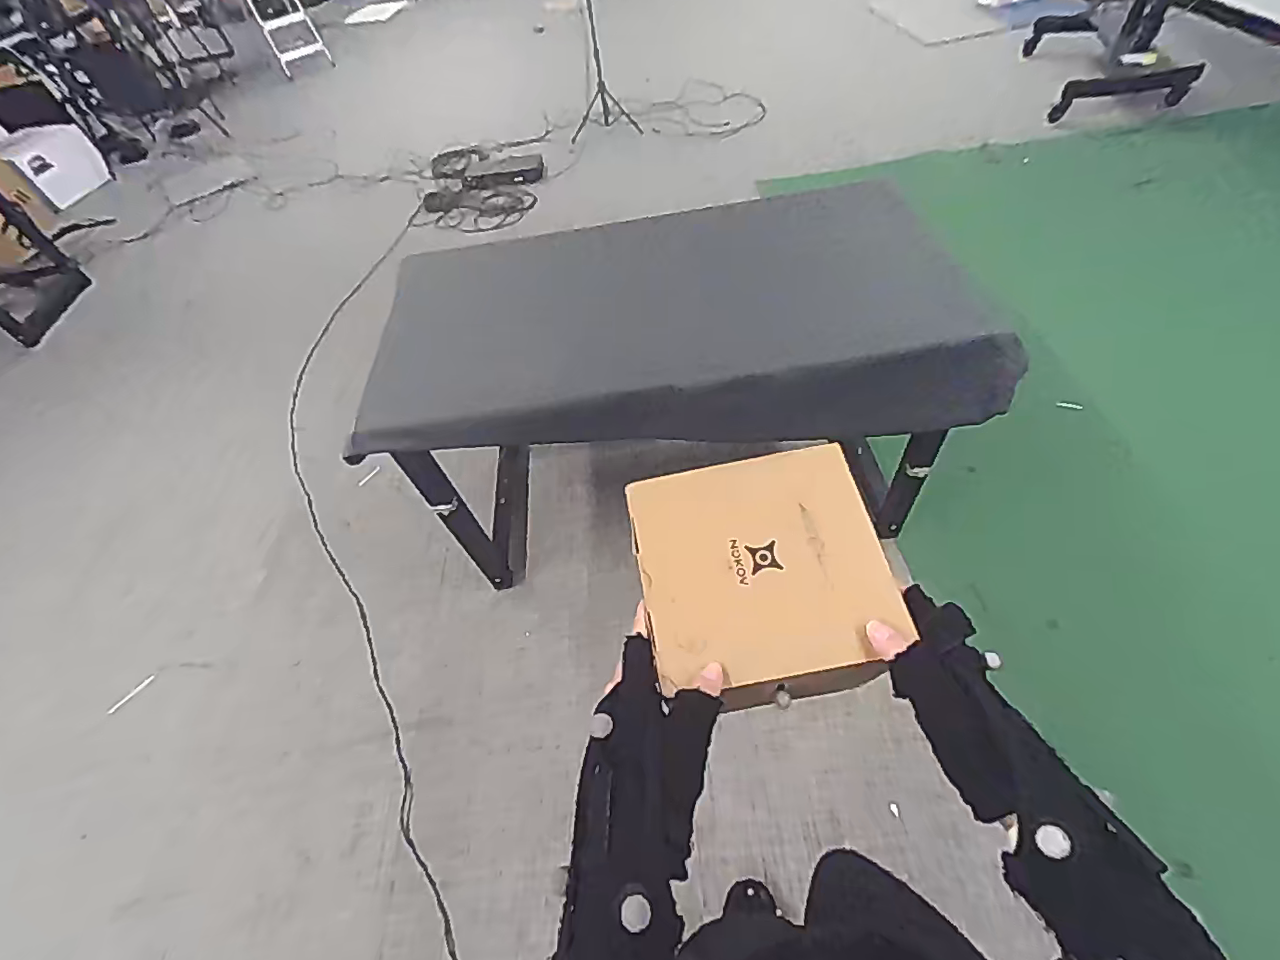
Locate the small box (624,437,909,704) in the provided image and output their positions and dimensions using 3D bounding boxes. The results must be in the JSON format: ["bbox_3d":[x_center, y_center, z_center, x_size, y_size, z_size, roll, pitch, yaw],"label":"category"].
[{"bbox_3d":[0.091,0.088,0.470,0.179,0.176,0.168,-11,62,-1],"label":"small box"}]
